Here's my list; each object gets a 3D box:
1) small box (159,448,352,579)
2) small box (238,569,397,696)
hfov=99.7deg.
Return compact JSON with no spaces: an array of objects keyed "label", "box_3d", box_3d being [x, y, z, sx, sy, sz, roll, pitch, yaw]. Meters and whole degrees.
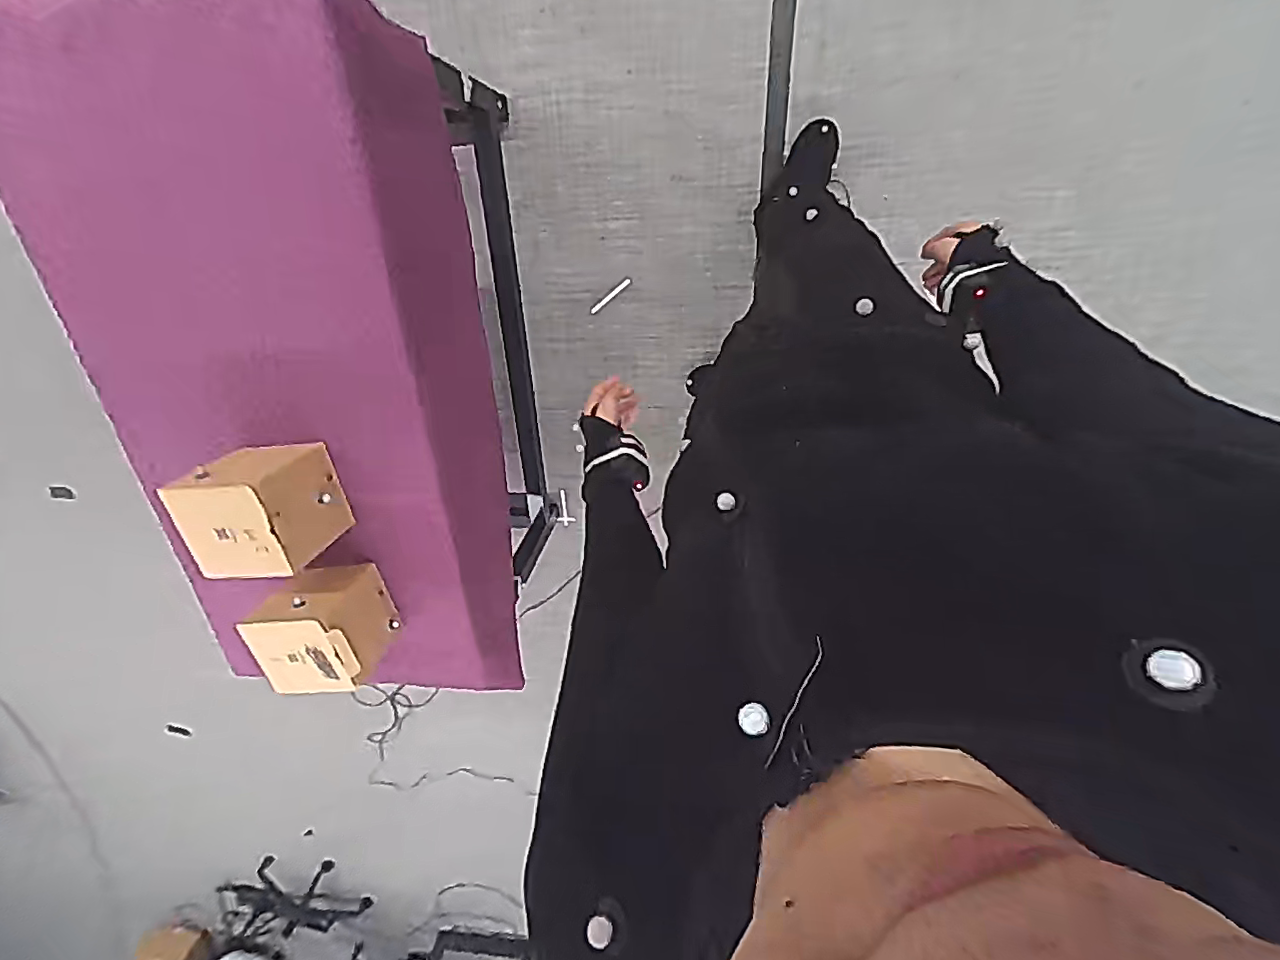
[{"label":"small box","box_3d":[-0.640,0.054,0.925,0.179,0.176,0.168,-4,115,9]},{"label":"small box","box_3d":[-0.594,0.284,1.030,0.179,0.176,0.168,-7,114,12]}]
